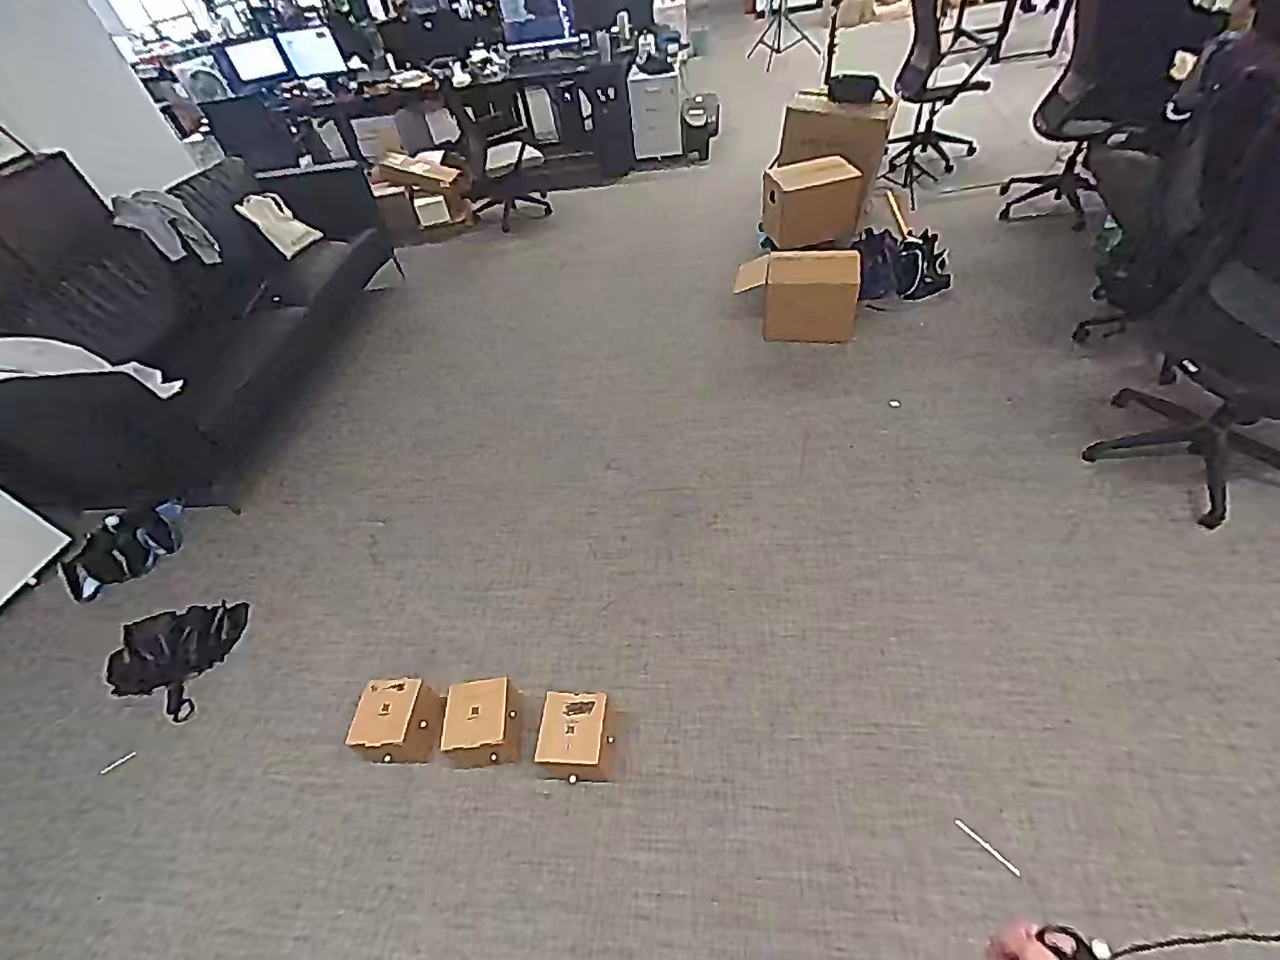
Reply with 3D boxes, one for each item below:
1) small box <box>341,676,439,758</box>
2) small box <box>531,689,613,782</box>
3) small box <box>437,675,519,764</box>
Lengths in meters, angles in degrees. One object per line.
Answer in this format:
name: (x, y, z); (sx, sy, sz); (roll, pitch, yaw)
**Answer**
small box: (-0.691, 0.671, 1.522); (0.168, 0.176, 0.179); (-3, 47, 7)
small box: (-0.171, 0.675, 1.429); (0.168, 0.176, 0.179); (-1, 48, 9)
small box: (-0.437, 0.665, 1.488); (0.168, 0.176, 0.179); (-8, 45, 0)
